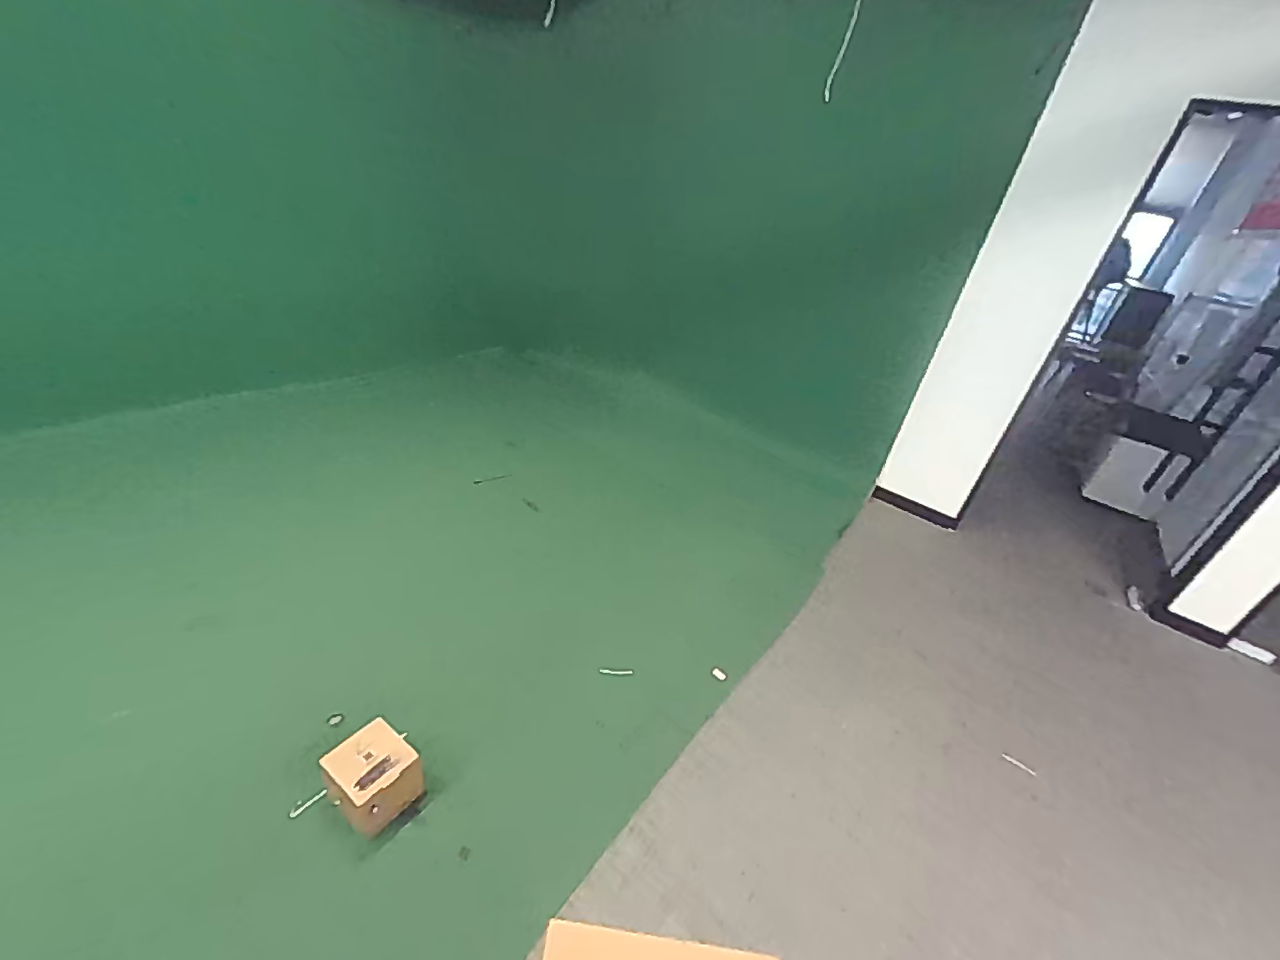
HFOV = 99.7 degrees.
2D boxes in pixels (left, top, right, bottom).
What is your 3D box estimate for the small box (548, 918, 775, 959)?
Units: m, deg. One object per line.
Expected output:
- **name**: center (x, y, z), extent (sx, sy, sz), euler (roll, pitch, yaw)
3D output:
- **small box**: center (-0.003, 0.425, 0.337), extent (0.168, 0.176, 0.179), euler (12, 31, -3)
